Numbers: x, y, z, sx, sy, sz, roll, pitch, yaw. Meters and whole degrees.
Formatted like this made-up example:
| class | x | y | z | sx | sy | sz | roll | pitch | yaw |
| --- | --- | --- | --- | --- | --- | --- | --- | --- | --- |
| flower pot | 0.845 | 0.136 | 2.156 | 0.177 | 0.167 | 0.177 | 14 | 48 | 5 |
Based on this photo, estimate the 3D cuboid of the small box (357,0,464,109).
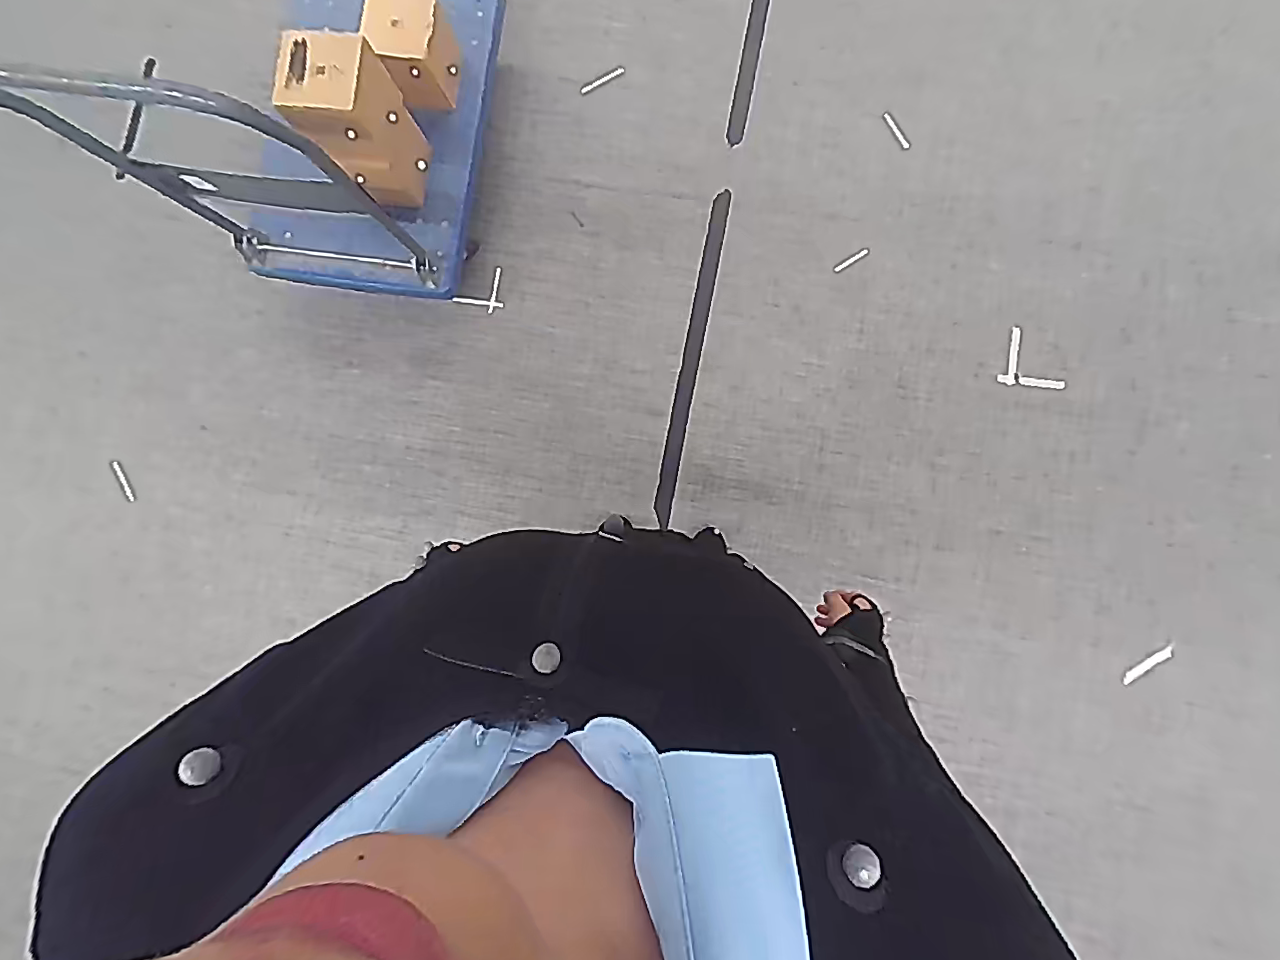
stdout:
| class | x | y | z | sx | sy | sz | roll | pitch | yaw |
| --- | --- | --- | --- | --- | --- | --- | --- | --- | --- |
| small box | -0.567 | -1.069 | 1.352 | 0.179 | 0.176 | 0.168 | 8 | 87 | 4 |

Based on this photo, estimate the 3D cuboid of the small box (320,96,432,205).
| class | x | y | z | sx | sy | sz | roll | pitch | yaw |
| --- | --- | --- | --- | --- | --- | --- | --- | --- | --- |
| small box | -0.647 | -0.808 | 1.340 | 0.179 | 0.176 | 0.168 | 7 | 88 | 4 |
